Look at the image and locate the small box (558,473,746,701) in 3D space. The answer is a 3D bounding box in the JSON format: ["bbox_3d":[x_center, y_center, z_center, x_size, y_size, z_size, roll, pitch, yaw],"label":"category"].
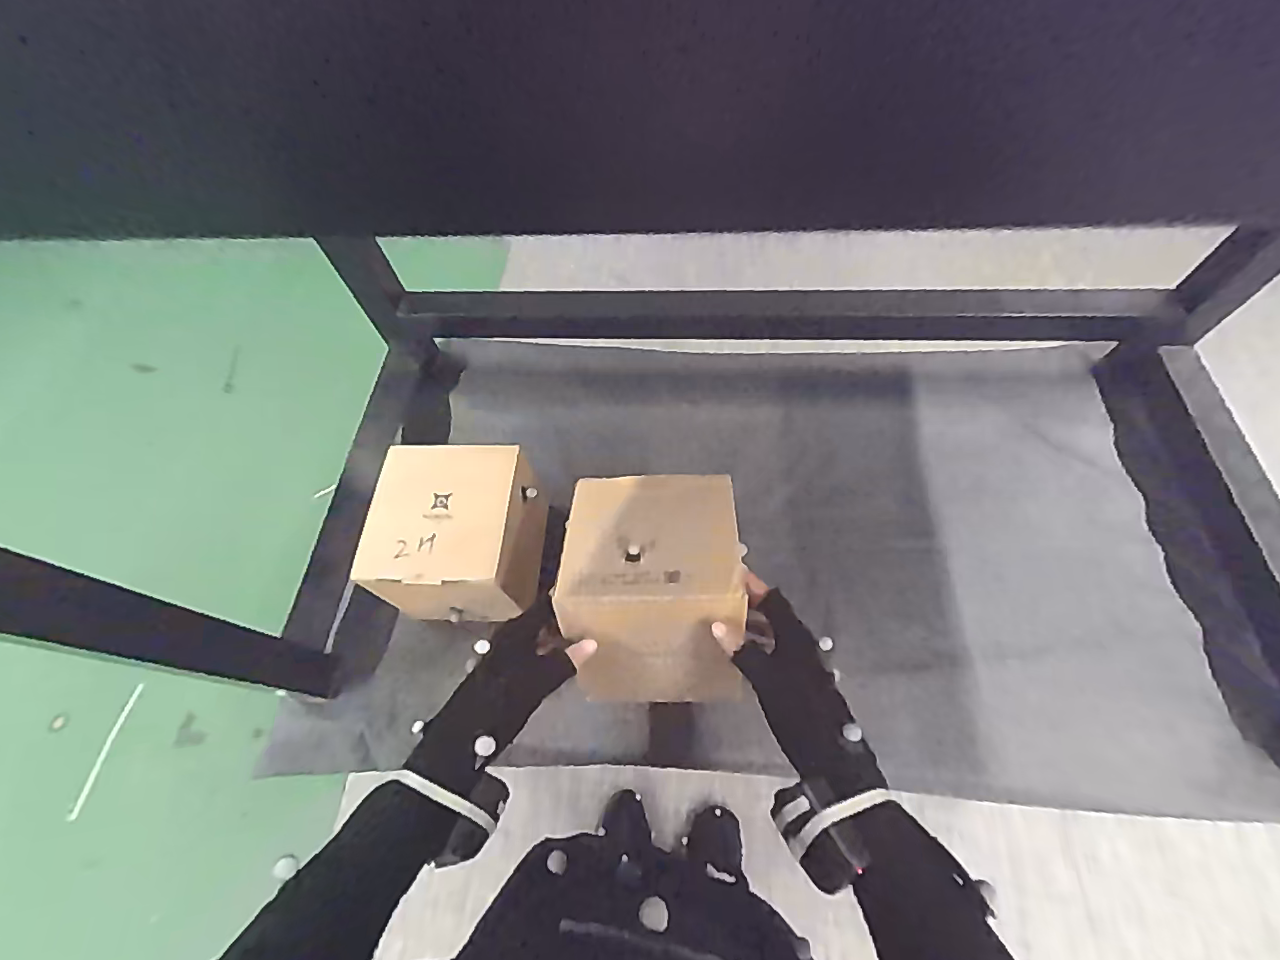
[{"bbox_3d":[0.018,0.113,0.565,0.168,0.179,0.176,-2,38,5],"label":"small box"}]

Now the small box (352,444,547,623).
[{"bbox_3d":[-0.223,0.071,0.691,0.168,0.176,0.179,0,60,6],"label":"small box"}]
